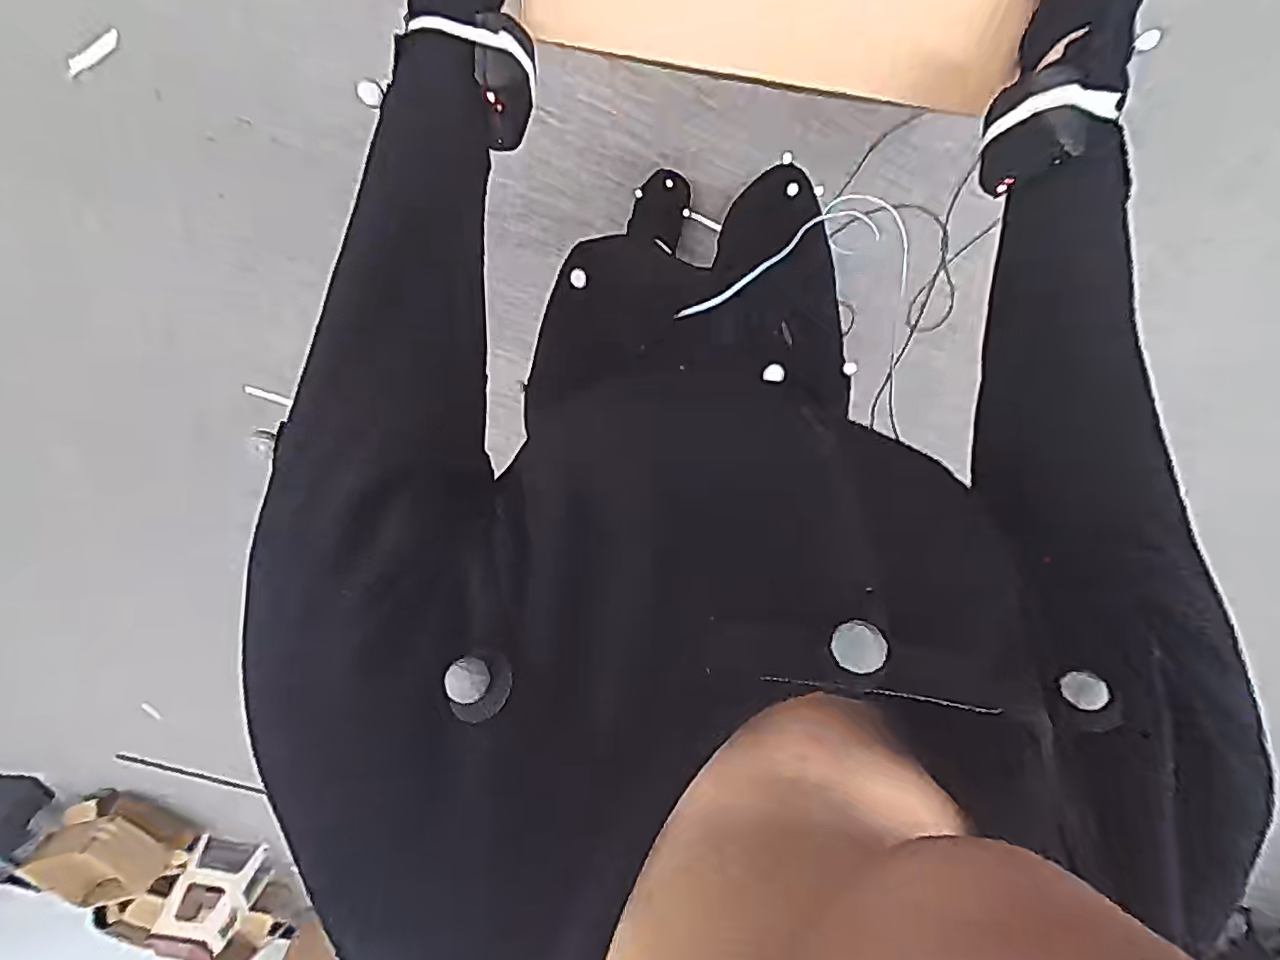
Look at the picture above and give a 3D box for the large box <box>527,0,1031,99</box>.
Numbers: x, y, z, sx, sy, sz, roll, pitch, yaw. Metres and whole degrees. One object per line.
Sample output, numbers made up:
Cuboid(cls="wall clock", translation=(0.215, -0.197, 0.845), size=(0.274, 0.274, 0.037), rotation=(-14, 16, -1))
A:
Cuboid(cls="large box", translation=(0.123, -0.555, 0.479), size=(0.408, 0.320, 0.320), rotation=(7, 128, -4))
